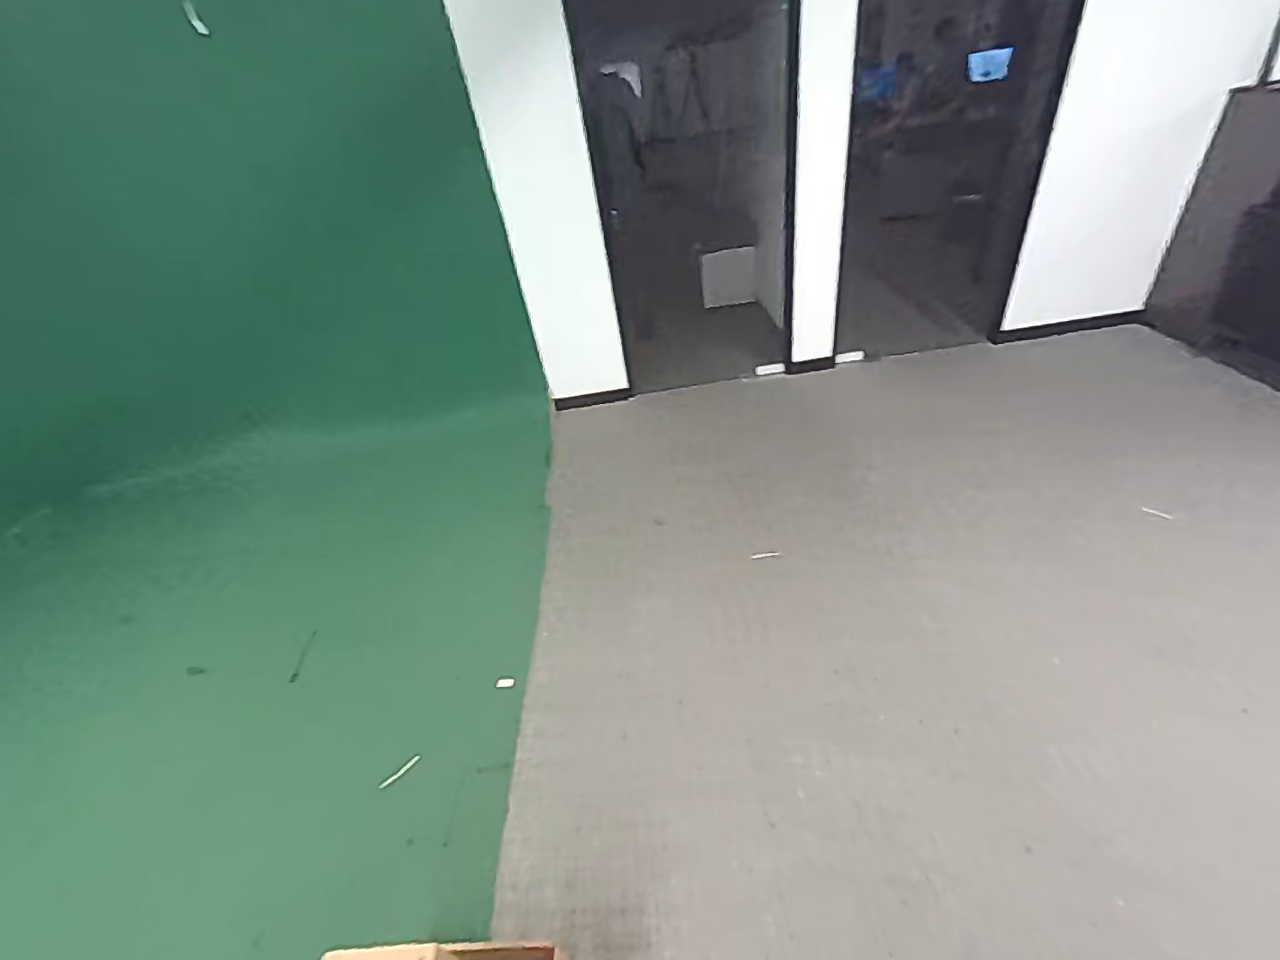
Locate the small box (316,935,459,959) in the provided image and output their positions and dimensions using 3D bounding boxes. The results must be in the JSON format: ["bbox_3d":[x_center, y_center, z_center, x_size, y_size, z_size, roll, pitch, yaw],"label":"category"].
[{"bbox_3d":[-0.379,0.795,0.786,0.179,0.176,0.168,-7,37,3],"label":"small box"}]
